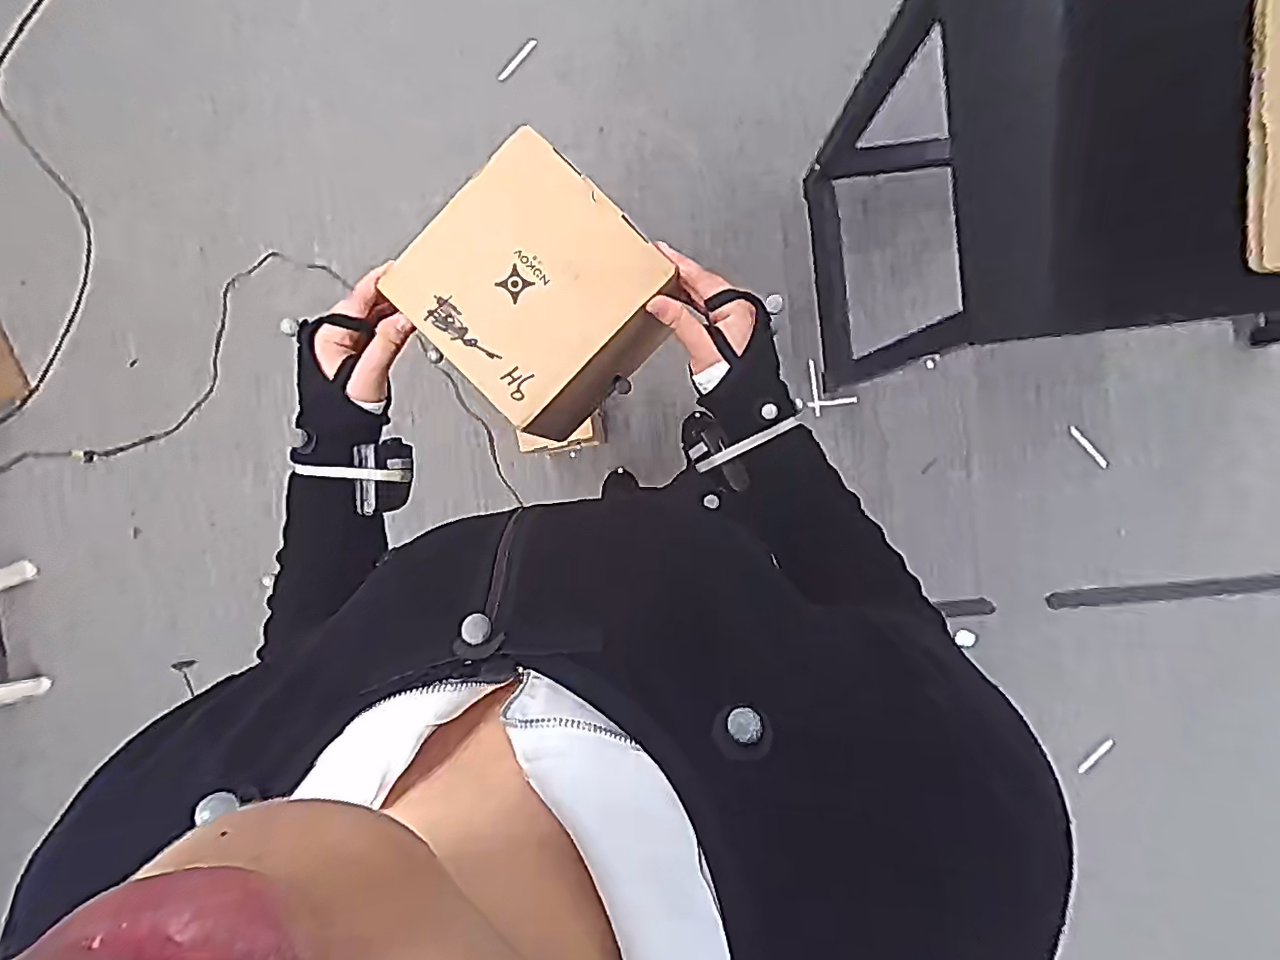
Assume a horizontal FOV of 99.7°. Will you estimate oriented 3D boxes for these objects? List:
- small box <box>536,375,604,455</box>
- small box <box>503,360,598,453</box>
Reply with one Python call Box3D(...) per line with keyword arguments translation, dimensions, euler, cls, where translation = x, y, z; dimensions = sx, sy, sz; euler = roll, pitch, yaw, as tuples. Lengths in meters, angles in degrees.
Box3D(translation=(-0.193, -0.164, 1.420), dimensions=(0.168, 0.176, 0.179), euler=(-10, 93, 2), cls="small box")
Box3D(translation=(-0.200, -0.163, 1.258), dimensions=(0.168, 0.176, 0.179), euler=(-14, 91, 1), cls="small box")
